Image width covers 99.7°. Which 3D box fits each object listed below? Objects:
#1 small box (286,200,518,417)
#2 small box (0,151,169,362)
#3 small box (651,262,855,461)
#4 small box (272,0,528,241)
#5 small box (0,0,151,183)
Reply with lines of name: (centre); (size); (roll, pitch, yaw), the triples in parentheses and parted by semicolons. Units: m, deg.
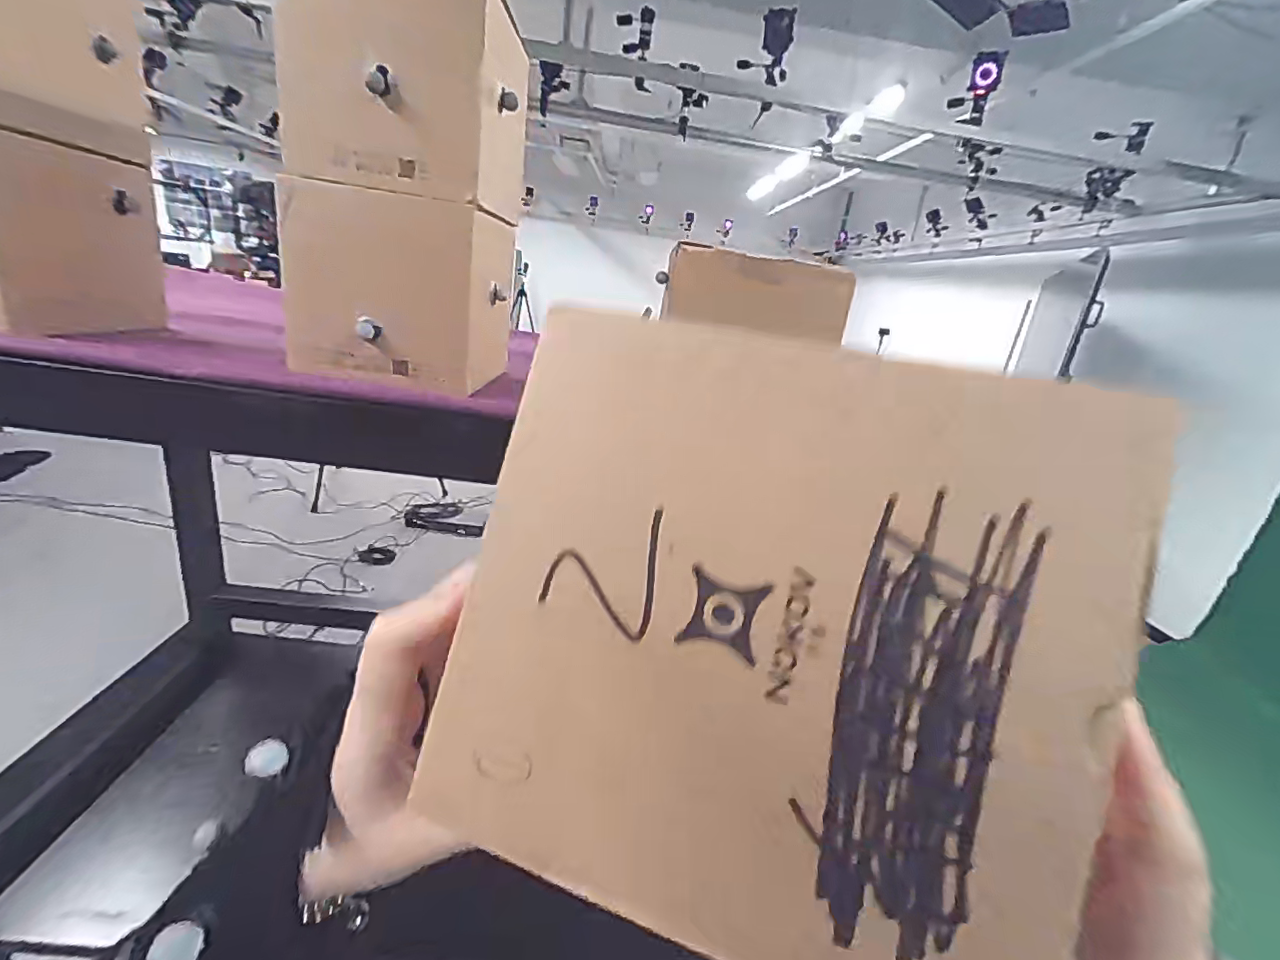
small box: (-0.231, -0.174, 0.561); (0.168, 0.176, 0.179); (7, 20, -3)
small box: (-0.600, -0.216, 0.517); (0.168, 0.176, 0.179); (7, 18, -4)
small box: (0.104, -0.133, 0.589); (0.168, 0.176, 0.179); (7, 21, -2)
small box: (-0.208, -0.330, 0.517); (0.168, 0.176, 0.179); (7, 20, -3)
small box: (-0.575, -0.368, 0.465); (0.168, 0.176, 0.179); (7, 19, -2)
